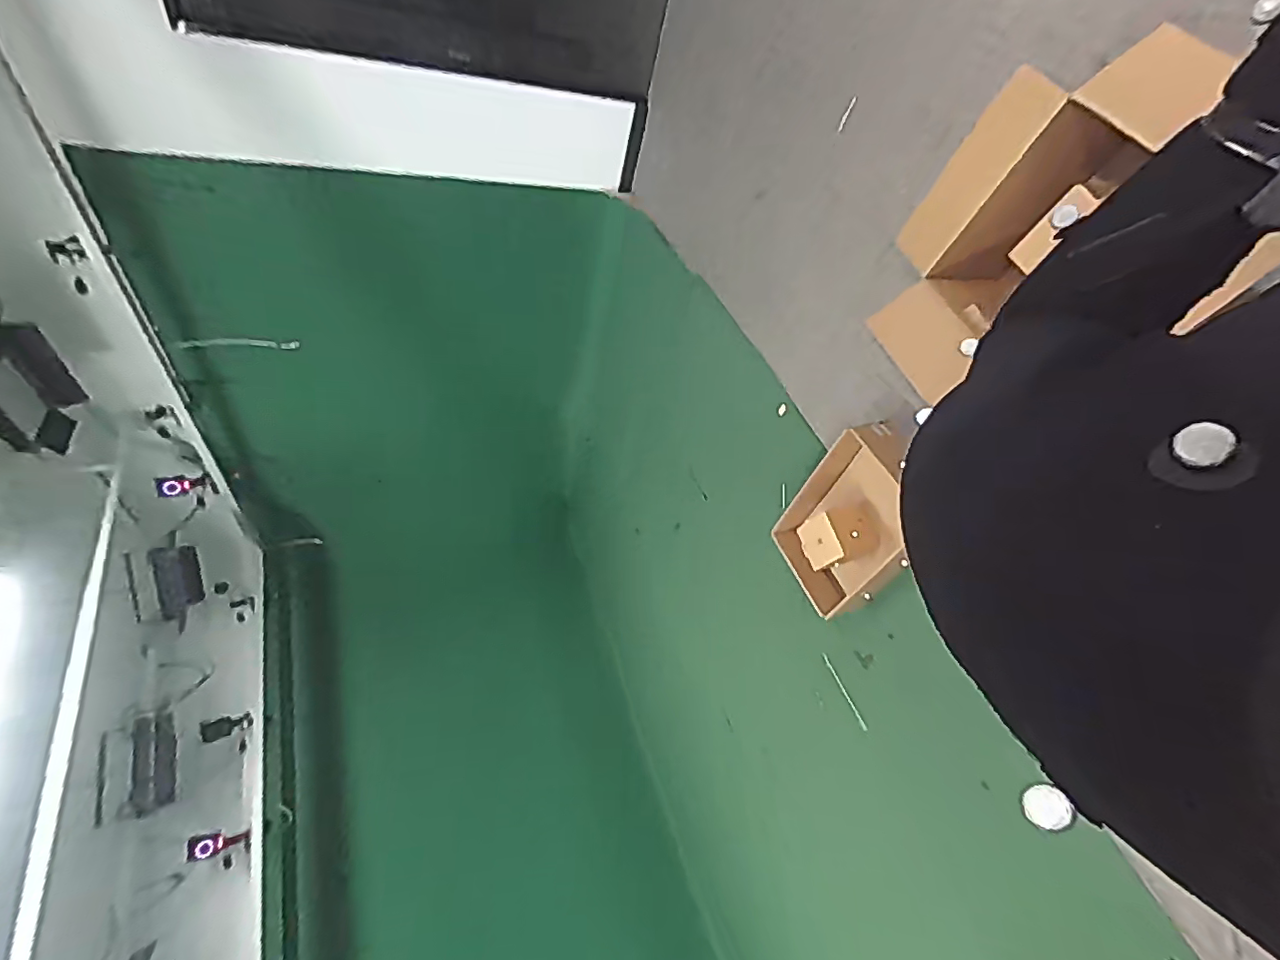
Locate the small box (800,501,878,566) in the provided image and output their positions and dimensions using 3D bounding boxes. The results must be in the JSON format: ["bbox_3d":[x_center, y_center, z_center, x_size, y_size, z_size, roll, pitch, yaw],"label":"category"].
[{"bbox_3d":[0.712,0.188,1.920,0.179,0.176,0.168,125,132,-56],"label":"small box"}]
